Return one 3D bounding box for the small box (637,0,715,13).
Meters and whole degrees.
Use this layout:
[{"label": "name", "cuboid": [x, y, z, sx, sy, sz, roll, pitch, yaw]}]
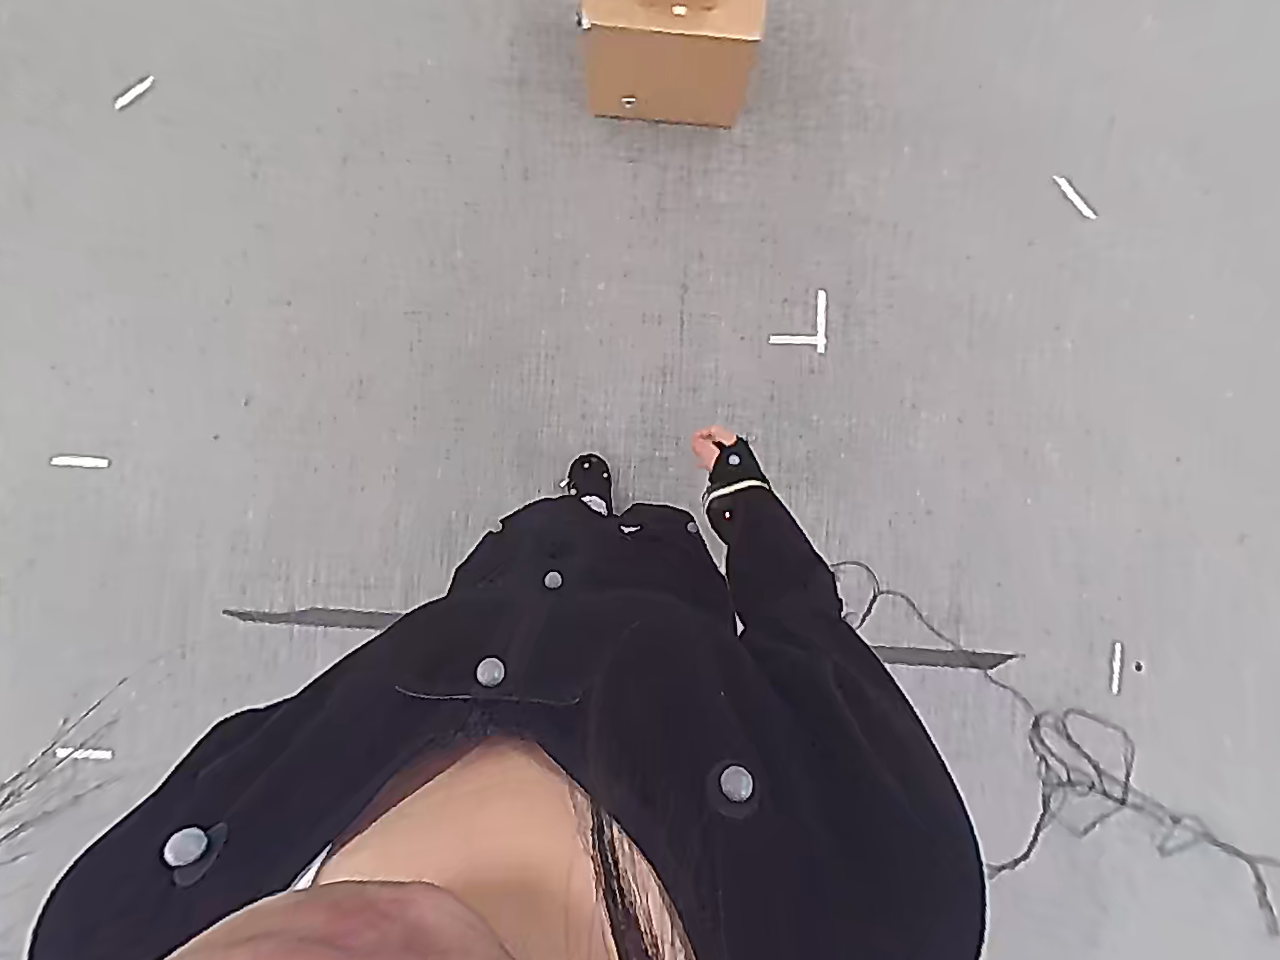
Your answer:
[{"label": "small box", "cuboid": [0.082, -1.113, 1.111, 0.179, 0.176, 0.168, 2, 92, -2]}]
